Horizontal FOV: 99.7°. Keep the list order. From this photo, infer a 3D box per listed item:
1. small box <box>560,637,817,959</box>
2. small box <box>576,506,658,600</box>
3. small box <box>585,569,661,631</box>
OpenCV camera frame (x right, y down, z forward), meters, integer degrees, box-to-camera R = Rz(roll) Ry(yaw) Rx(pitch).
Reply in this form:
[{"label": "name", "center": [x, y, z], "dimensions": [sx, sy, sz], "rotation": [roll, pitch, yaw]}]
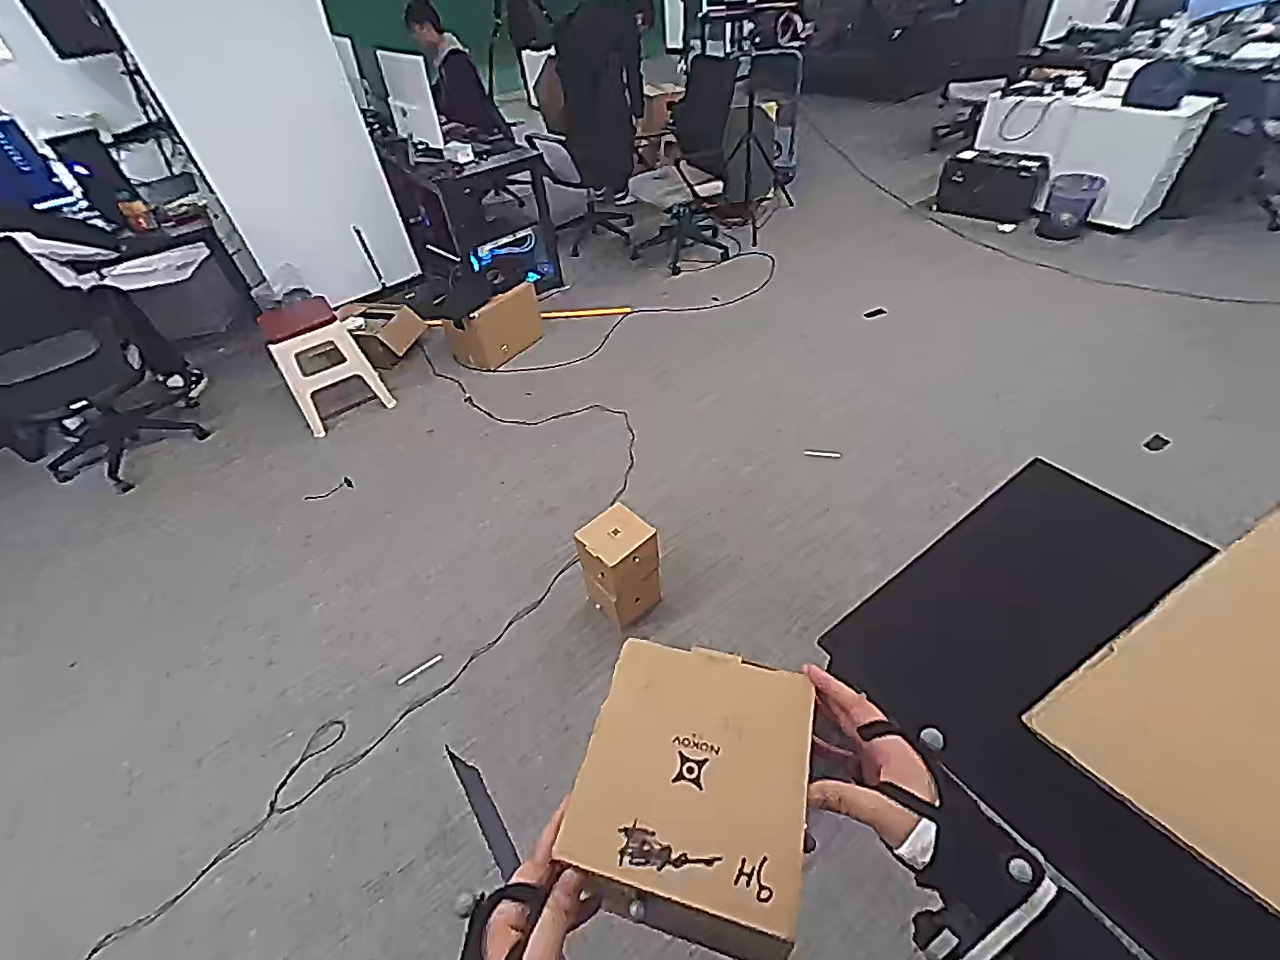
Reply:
[{"label": "small box", "center": [0.052, 0.268, 0.463], "dimensions": [0.168, 0.176, 0.179], "rotation": [7, 44, 17]}, {"label": "small box", "center": [-0.059, 0.215, 1.576], "dimensions": [0.179, 0.176, 0.168], "rotation": [-35, 52, -27]}, {"label": "small box", "center": [-0.048, 0.333, 1.687], "dimensions": [0.179, 0.176, 0.168], "rotation": [-34, 50, -23]}]
